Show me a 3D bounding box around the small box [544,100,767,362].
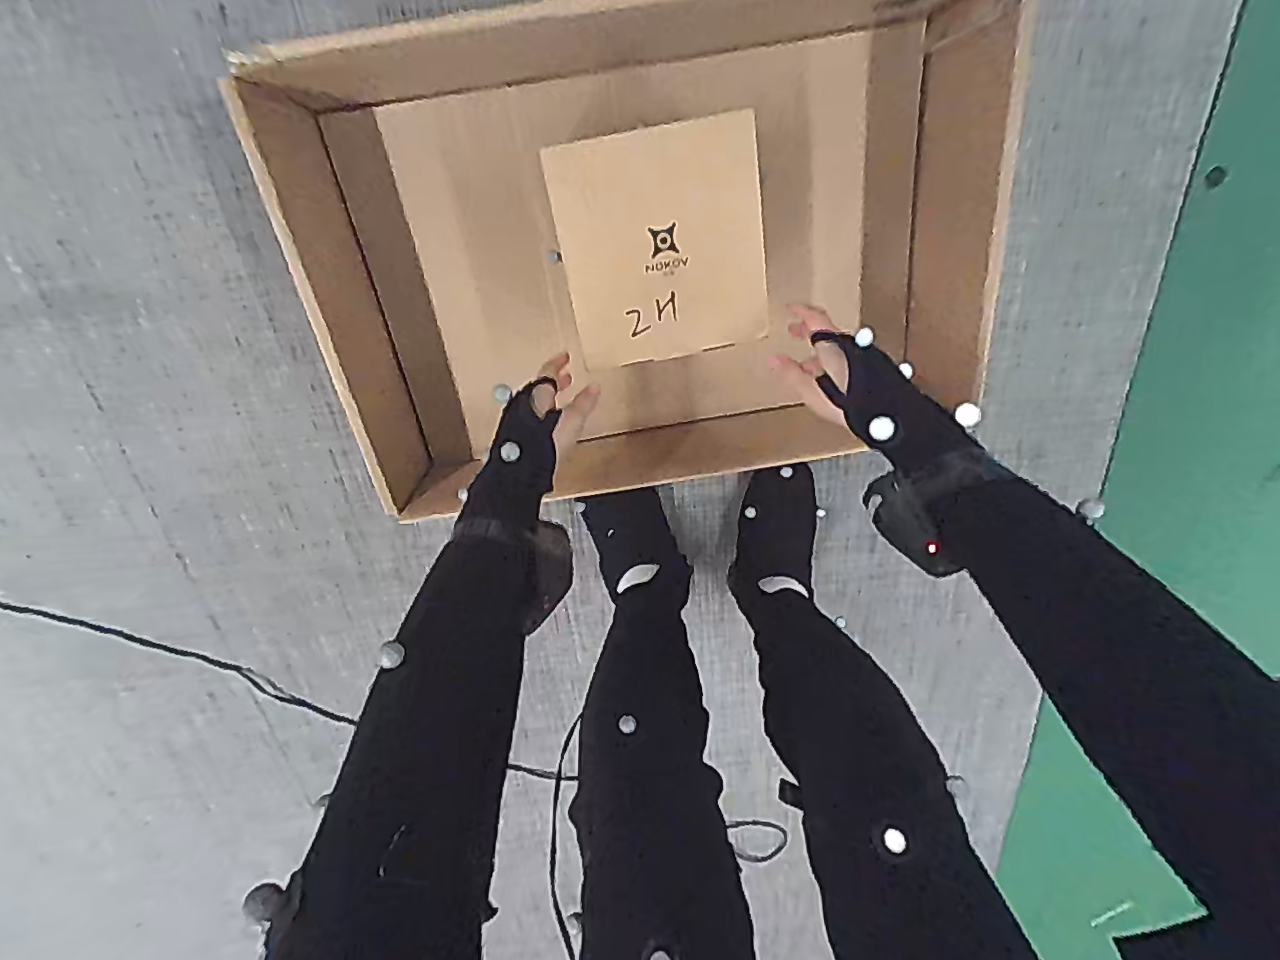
[{"bbox_3d":[0.012,-0.226,0.511,0.168,0.176,0.179,-10,115,0],"label":"small box"}]
